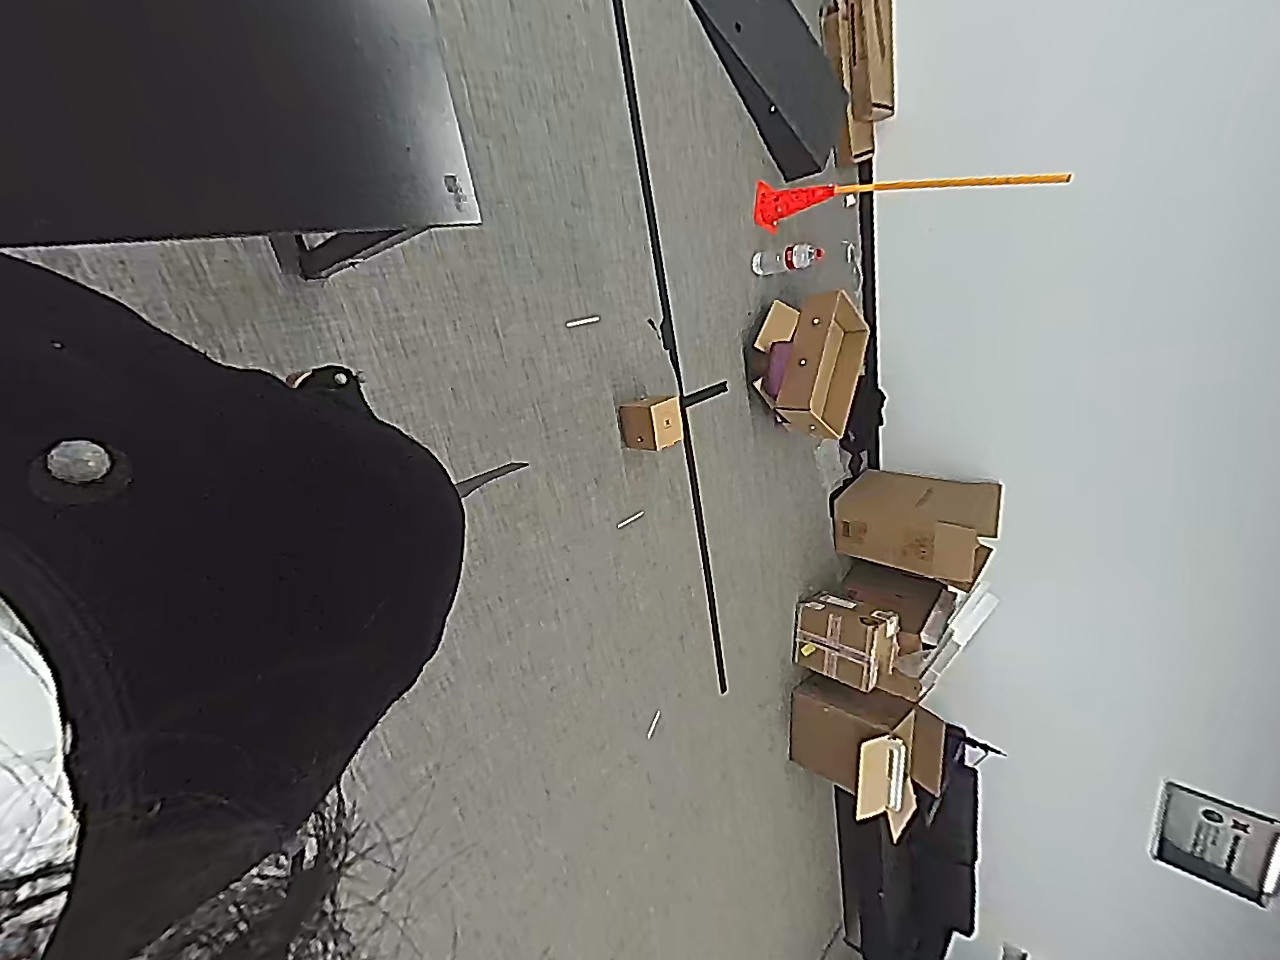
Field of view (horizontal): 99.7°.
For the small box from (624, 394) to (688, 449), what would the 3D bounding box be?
[{"bbox_3d":[0.060,-0.233,2.100,0.168,0.176,0.179,-28,116,-40],"label":"small box"}]
